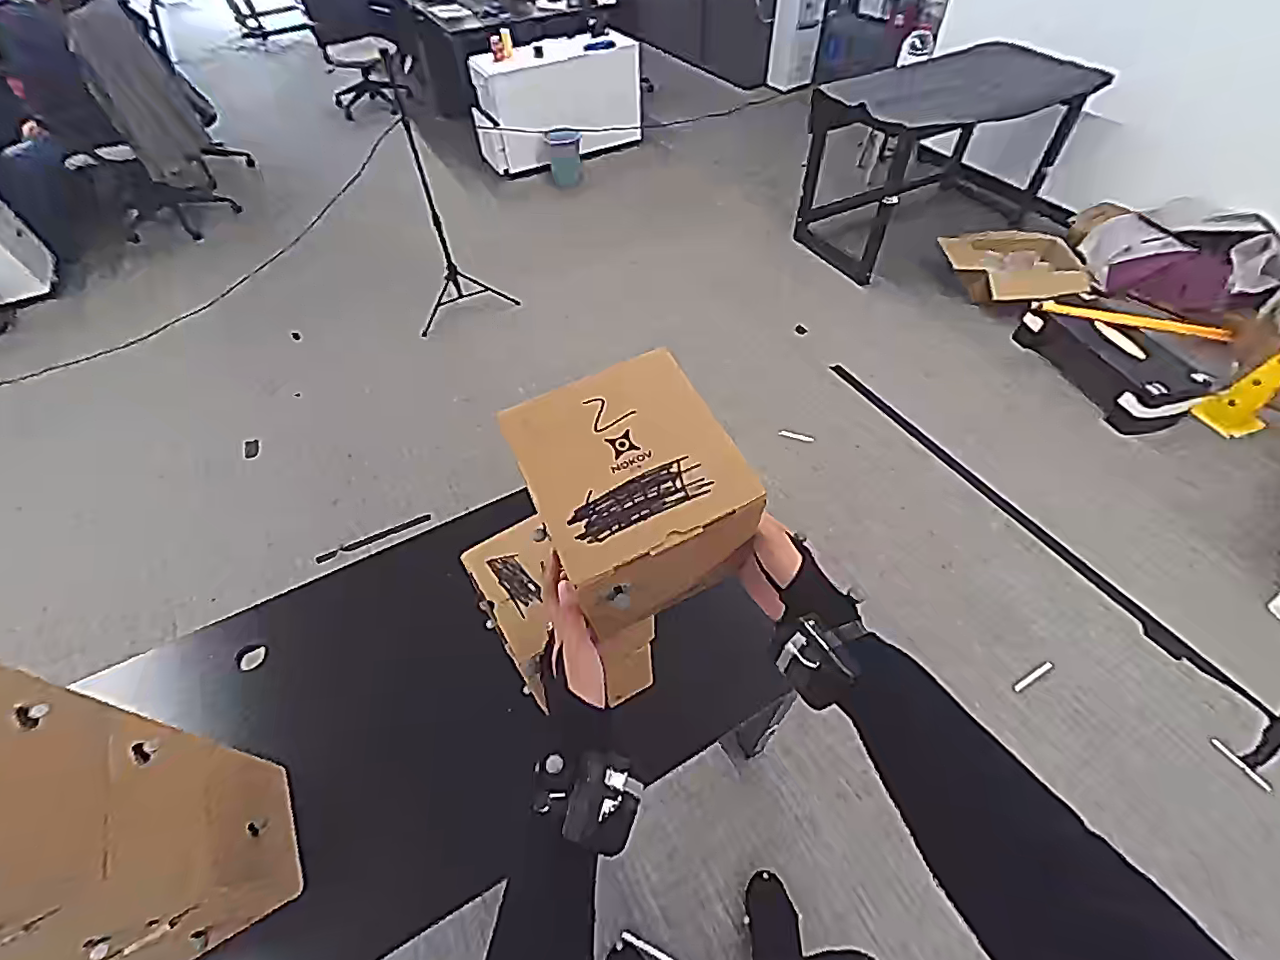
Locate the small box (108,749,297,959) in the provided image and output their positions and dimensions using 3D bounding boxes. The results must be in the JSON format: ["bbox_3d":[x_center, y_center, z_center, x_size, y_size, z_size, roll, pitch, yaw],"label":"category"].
[{"bbox_3d":[-0.559,0.473,0.669,0.168,0.176,0.179,-26,56,-18],"label":"small box"}]

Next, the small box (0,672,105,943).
[{"bbox_3d":[-0.568,0.268,0.414,0.168,0.176,0.179,-27,56,-16],"label":"small box"}]

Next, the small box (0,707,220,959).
[{"bbox_3d":[-0.564,0.369,0.541,0.168,0.176,0.179,-26,55,-17],"label":"small box"}]

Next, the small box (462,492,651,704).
[{"bbox_3d":[-0.097,0.155,0.695,0.179,0.176,0.168,-28,56,-19],"label":"small box"}]

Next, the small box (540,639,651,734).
[{"bbox_3d":[-0.095,0.252,0.828,0.168,0.176,0.179,-25,55,-17],"label":"small box"}]
